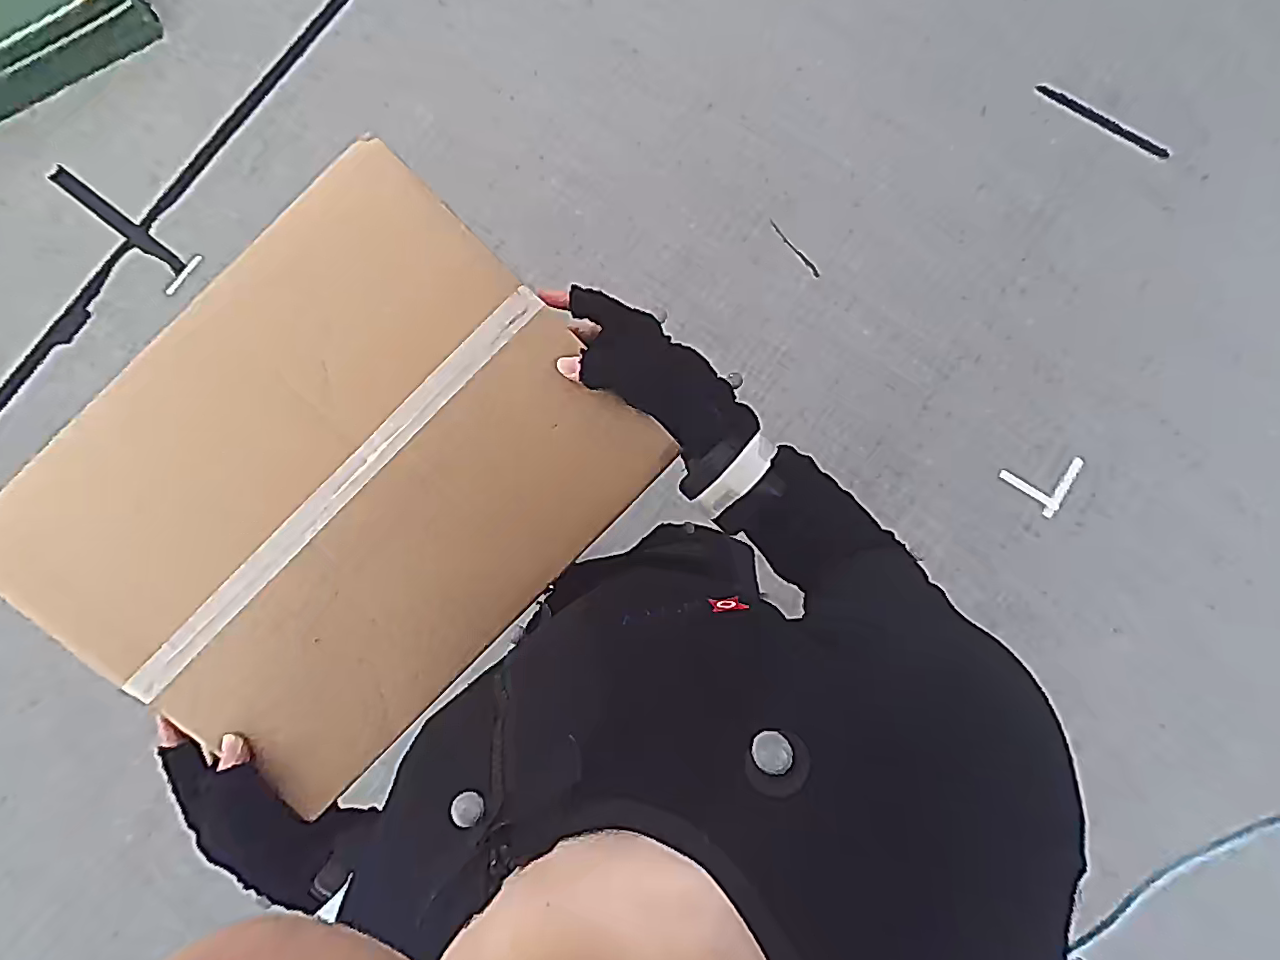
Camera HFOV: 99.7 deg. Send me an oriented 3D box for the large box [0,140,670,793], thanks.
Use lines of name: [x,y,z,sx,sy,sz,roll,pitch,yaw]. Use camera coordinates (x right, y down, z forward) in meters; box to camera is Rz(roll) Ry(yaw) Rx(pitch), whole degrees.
large box: [-0.233,-0.010,0.551,0.408,0.320,0.320,-45,99,0]
